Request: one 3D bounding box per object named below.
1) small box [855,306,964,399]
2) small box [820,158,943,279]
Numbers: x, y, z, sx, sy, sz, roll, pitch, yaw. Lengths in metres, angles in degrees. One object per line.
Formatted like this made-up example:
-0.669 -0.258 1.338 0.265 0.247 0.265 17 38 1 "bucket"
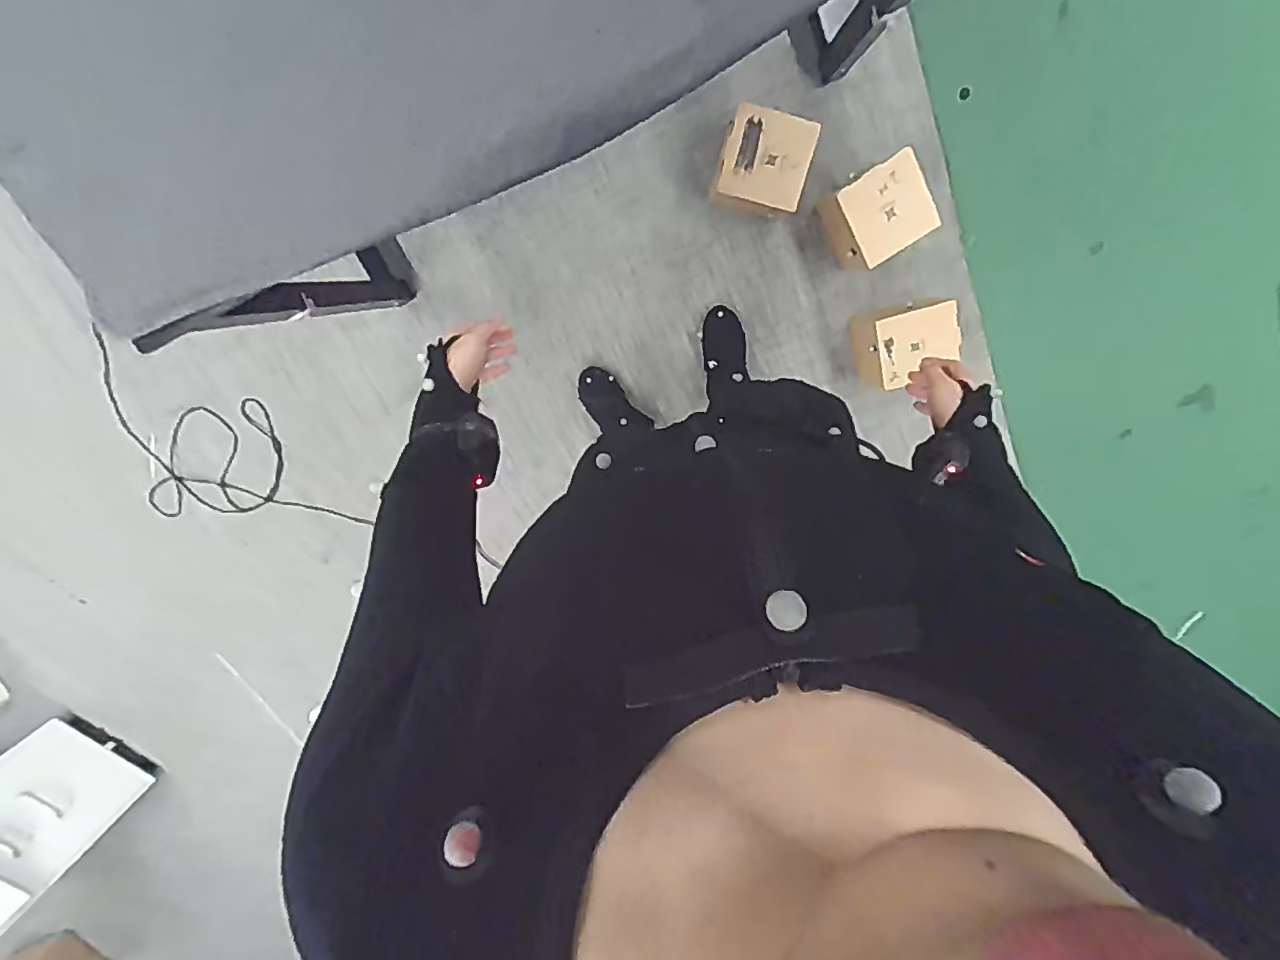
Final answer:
0.637 -0.309 1.286 0.179 0.176 0.168 -14 110 8 "small box"
0.525 -0.569 1.197 0.168 0.176 0.179 -31 106 13 "small box"
